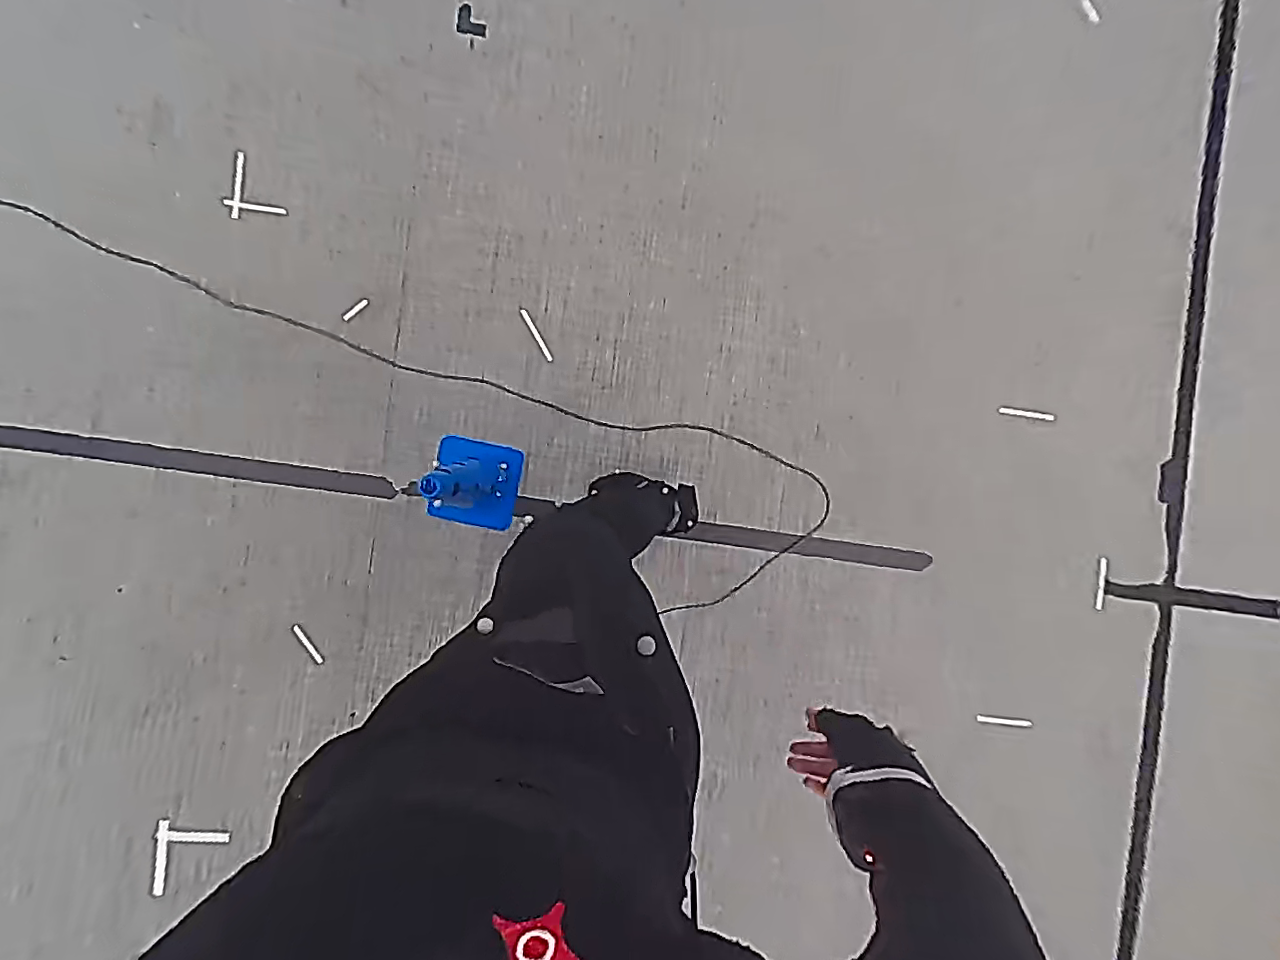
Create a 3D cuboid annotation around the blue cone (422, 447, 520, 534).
[{"bbox_3d":[-0.374,0.021,1.098,0.192,0.380,0.193,11,89,-4],"label":"blue cone"}]
